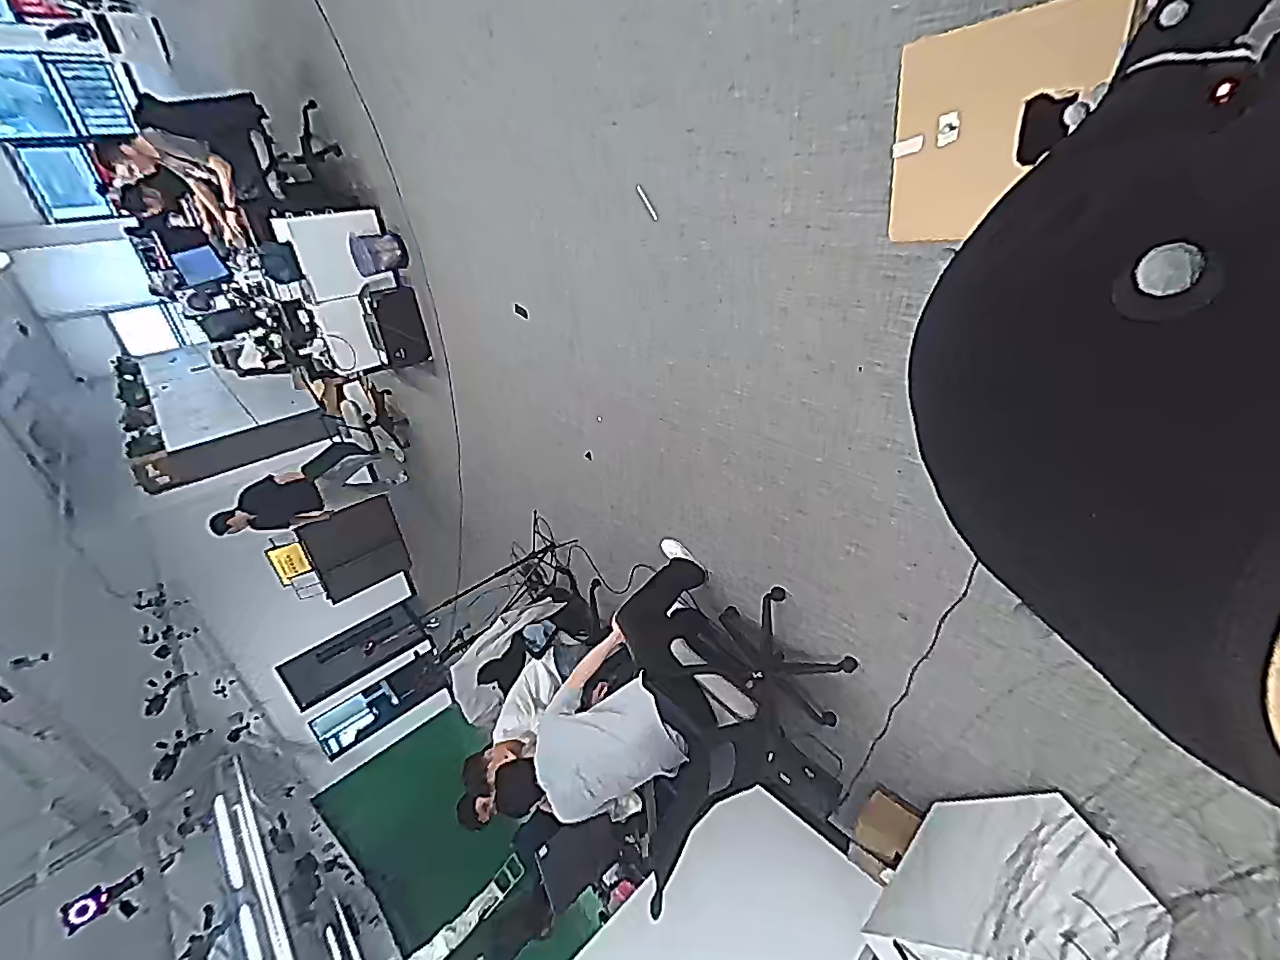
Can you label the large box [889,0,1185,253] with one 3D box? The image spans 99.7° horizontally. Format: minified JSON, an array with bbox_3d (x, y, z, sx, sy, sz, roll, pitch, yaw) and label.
[{"bbox_3d":[0.704,-0.619,0.989,0.320,0.408,0.320,23,132,44],"label":"large box"}]
